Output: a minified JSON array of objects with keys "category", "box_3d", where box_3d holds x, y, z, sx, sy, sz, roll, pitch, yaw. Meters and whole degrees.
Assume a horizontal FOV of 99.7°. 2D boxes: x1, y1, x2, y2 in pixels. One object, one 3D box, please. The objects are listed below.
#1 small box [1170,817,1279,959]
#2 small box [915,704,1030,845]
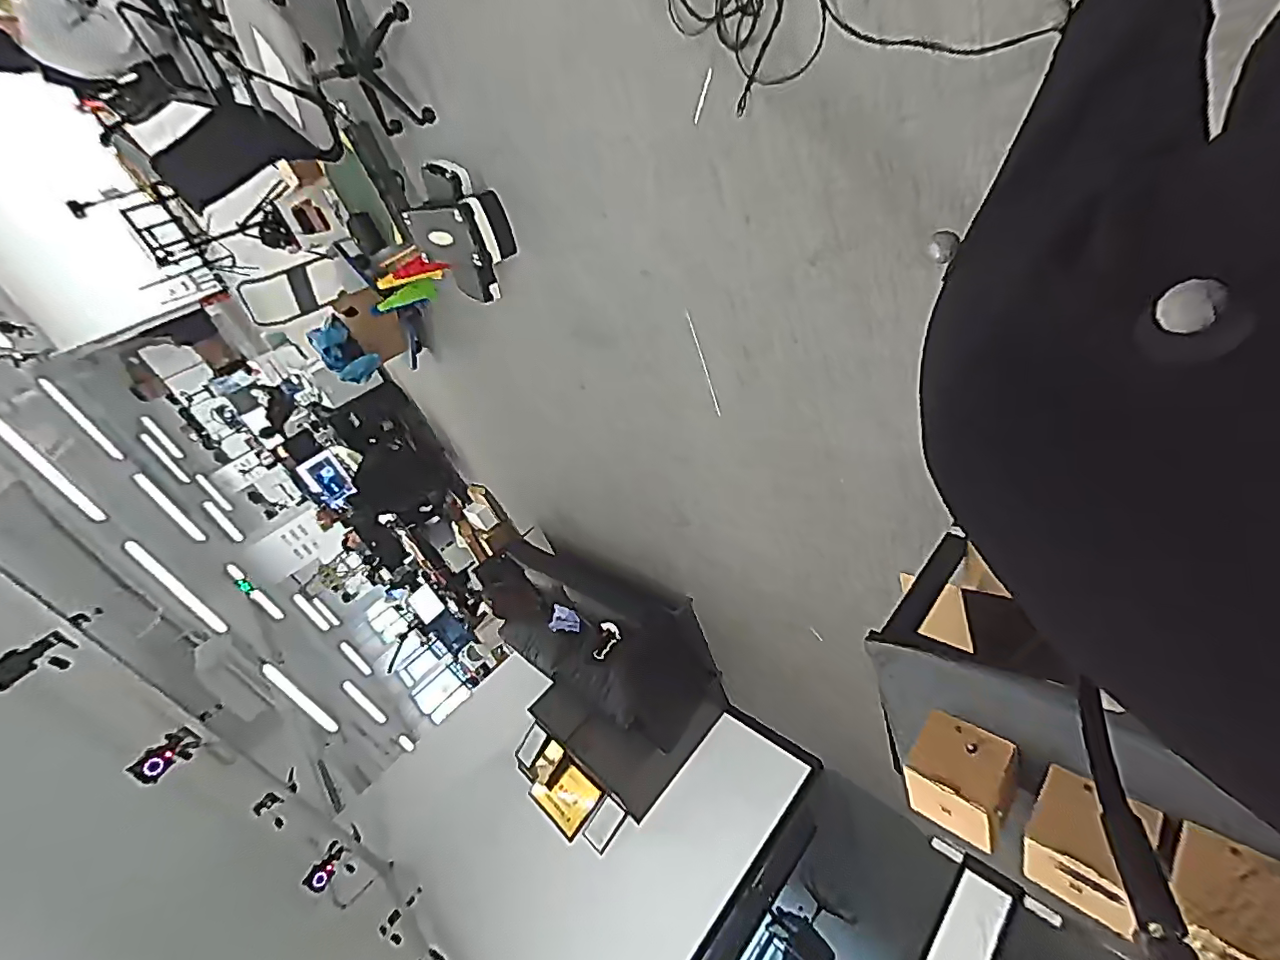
[{"category":"small box","box_3d":[0.990,0.693,0.869,0.168,0.176,0.179,13,137,50]},{"category":"small box","box_3d":[0.731,0.636,1.185,0.168,0.176,0.179,14,136,49]}]
